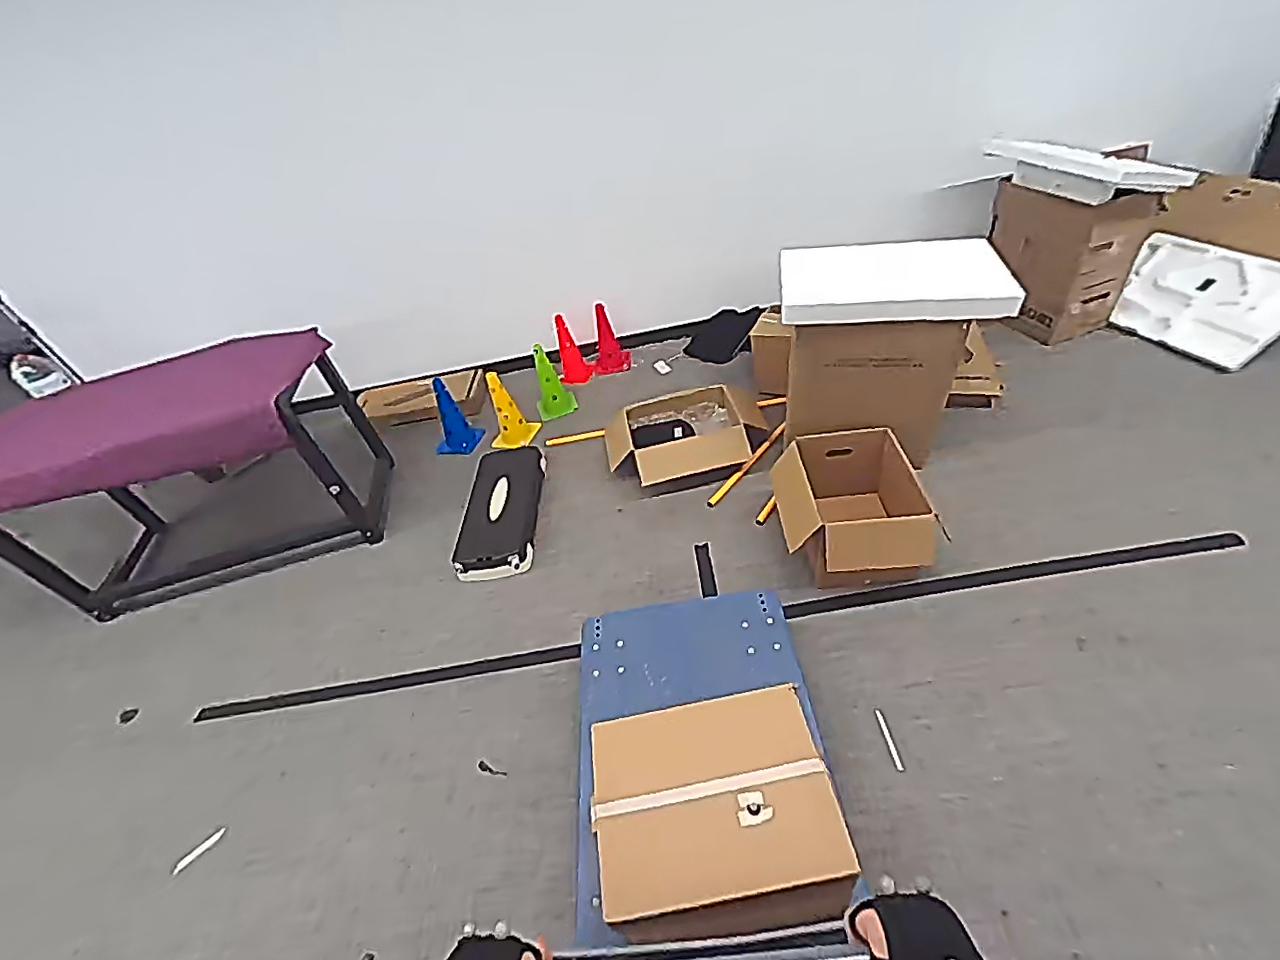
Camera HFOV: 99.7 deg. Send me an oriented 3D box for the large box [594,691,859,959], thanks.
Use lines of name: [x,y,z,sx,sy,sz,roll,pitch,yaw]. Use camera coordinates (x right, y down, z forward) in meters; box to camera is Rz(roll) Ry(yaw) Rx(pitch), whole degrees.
large box: [0.146,0.661,1.035,0.408,0.320,0.320,-12,41,0]
